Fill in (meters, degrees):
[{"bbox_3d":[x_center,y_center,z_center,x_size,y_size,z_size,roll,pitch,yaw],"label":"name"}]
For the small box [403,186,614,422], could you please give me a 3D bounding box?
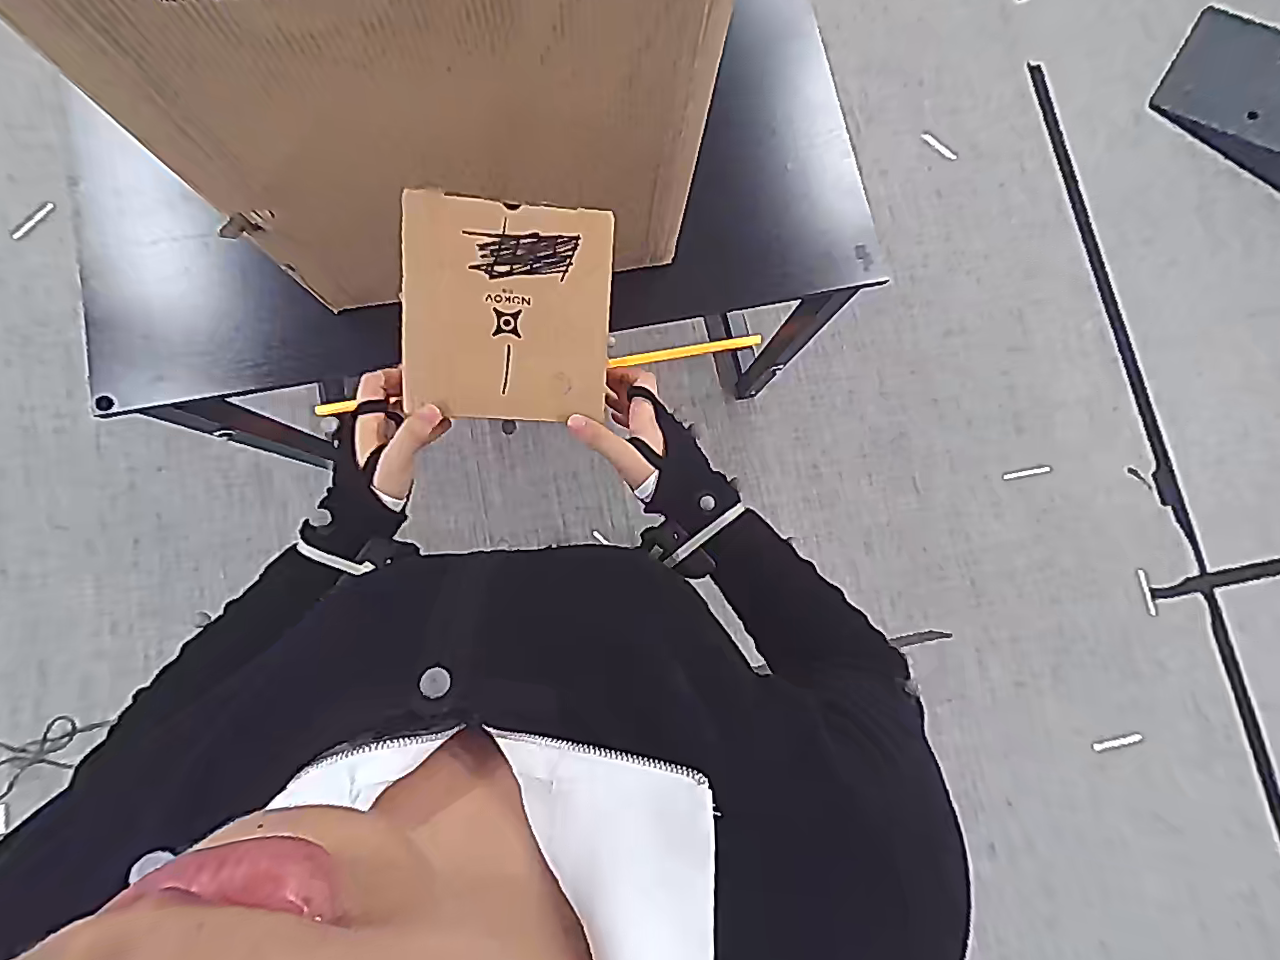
[{"bbox_3d":[-0.118,-0.147,0.514,0.168,0.176,0.179,1,96,-9],"label":"small box"}]
